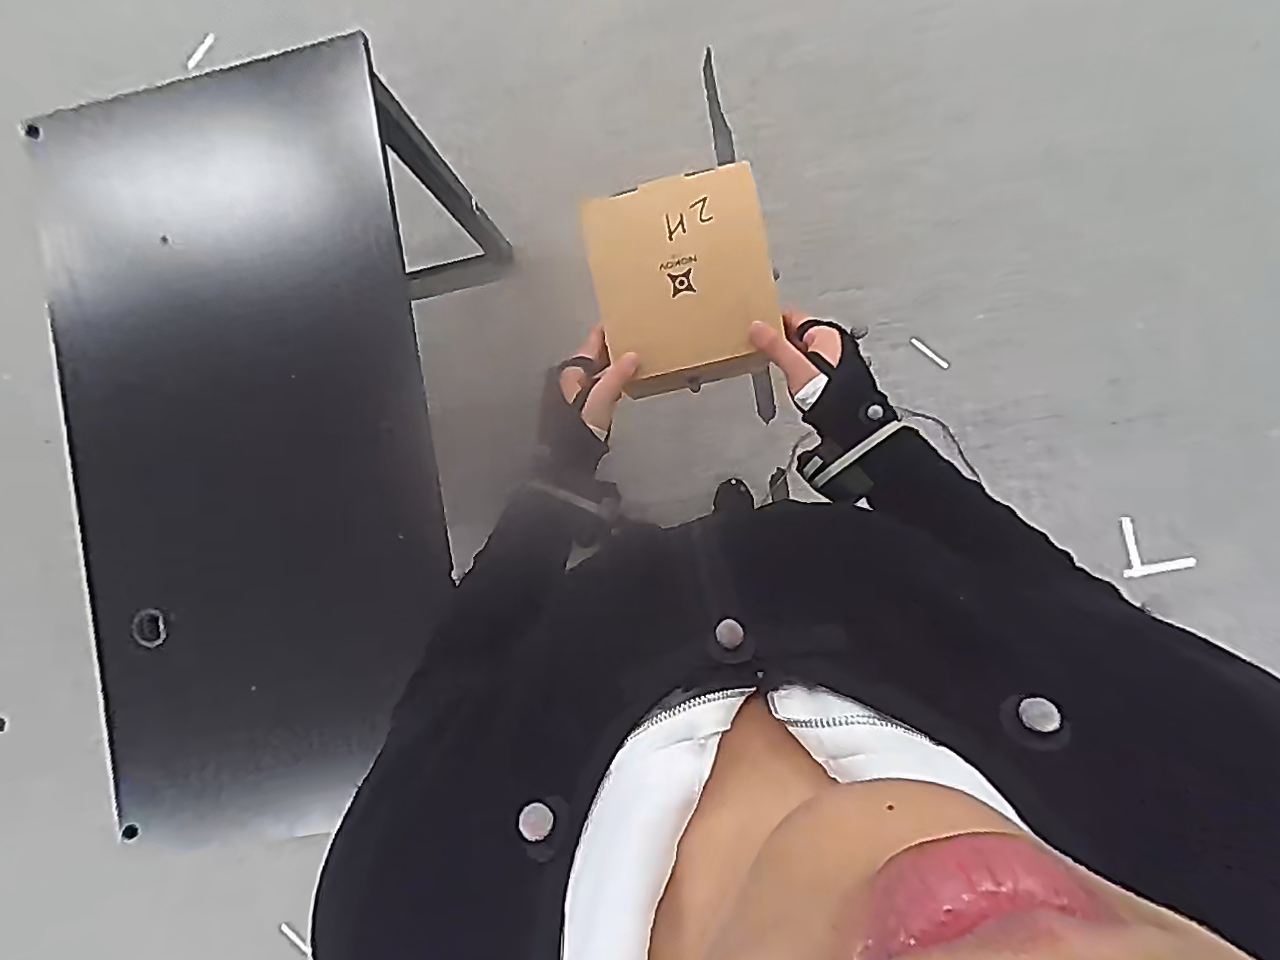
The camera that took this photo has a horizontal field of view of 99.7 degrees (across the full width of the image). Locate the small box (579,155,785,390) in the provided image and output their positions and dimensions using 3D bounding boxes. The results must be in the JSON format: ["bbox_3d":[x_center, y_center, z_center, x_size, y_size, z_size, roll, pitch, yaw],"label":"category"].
[{"bbox_3d":[0.047,-0.200,0.580,0.168,0.176,0.179,-13,92,6],"label":"small box"}]
